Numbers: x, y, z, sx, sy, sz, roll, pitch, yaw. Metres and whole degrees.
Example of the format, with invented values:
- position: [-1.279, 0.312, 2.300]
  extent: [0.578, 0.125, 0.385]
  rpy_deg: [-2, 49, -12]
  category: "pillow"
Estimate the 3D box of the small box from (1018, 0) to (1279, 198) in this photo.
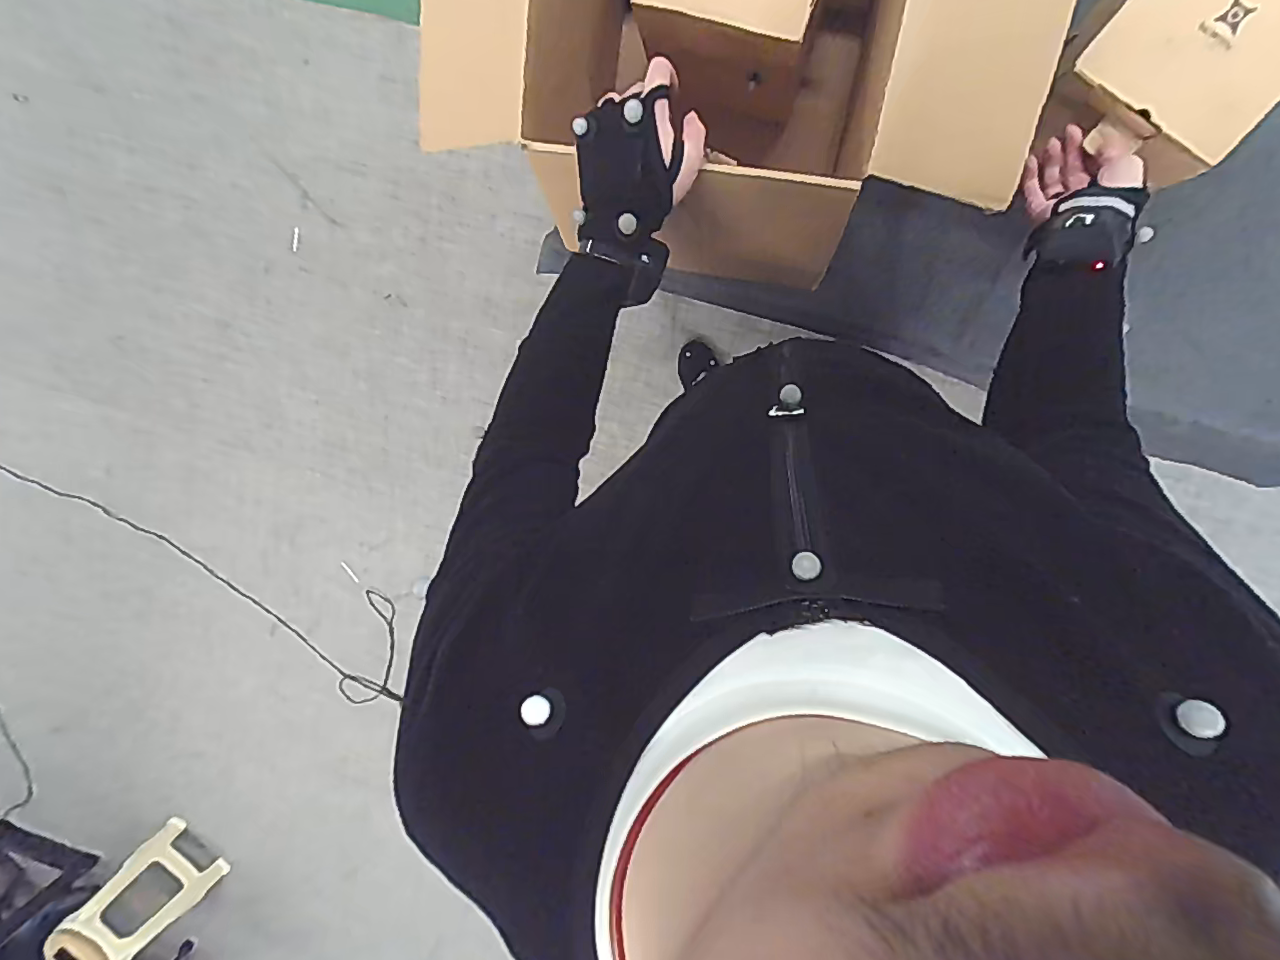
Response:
- position: [0.541, -0.431, 0.564]
  extent: [0.168, 0.176, 0.179]
  rpy_deg: [40, 110, 0]
  category: "small box"
